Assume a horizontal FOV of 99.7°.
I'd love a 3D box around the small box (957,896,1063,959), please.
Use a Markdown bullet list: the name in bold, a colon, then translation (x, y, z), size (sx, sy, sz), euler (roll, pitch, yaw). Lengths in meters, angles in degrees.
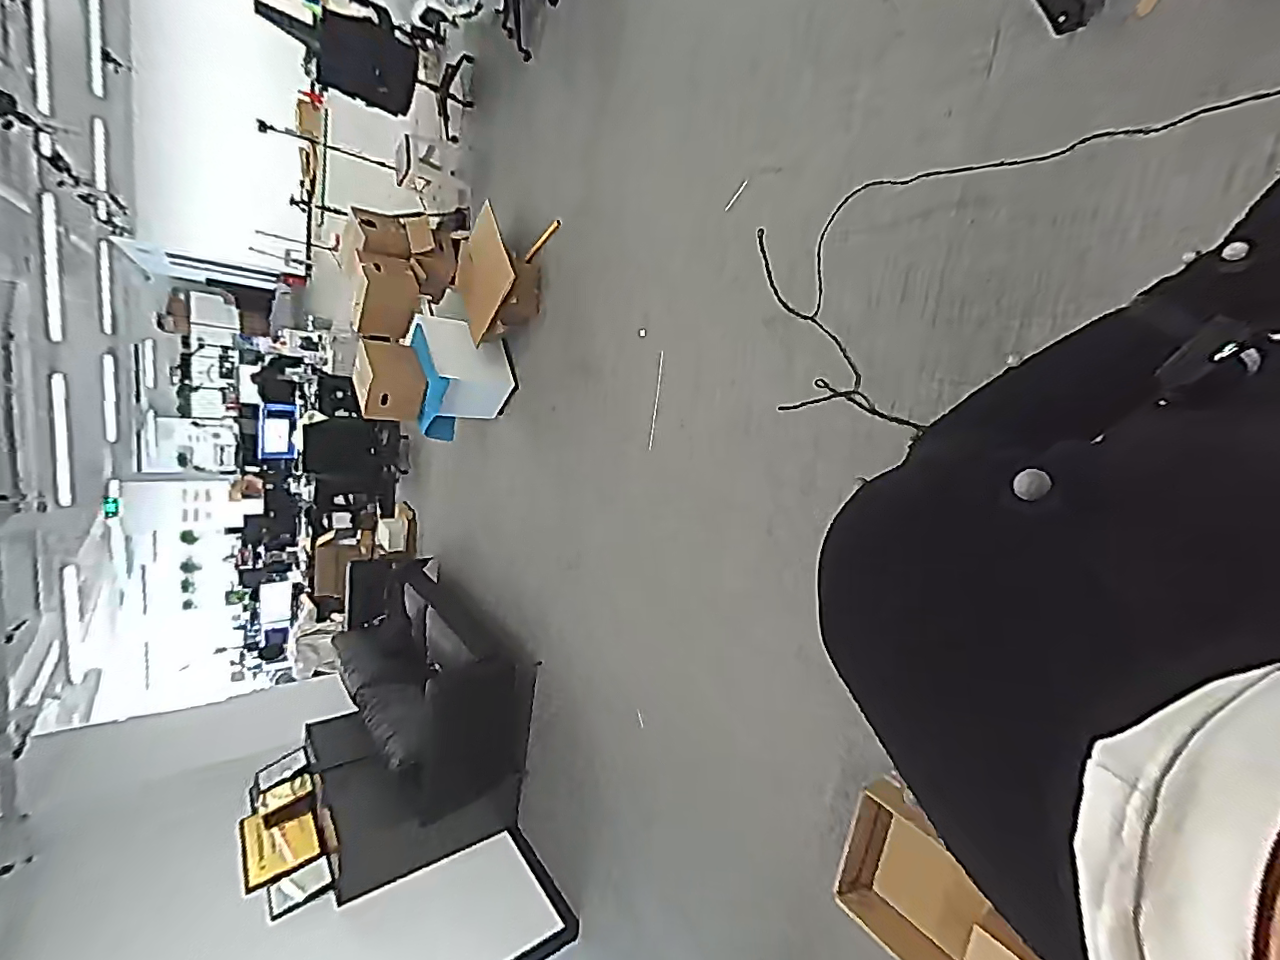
- **small box**: translation (0.903, 1.184, 1.325), size (0.168, 0.176, 0.179), euler (21, 107, 50)
